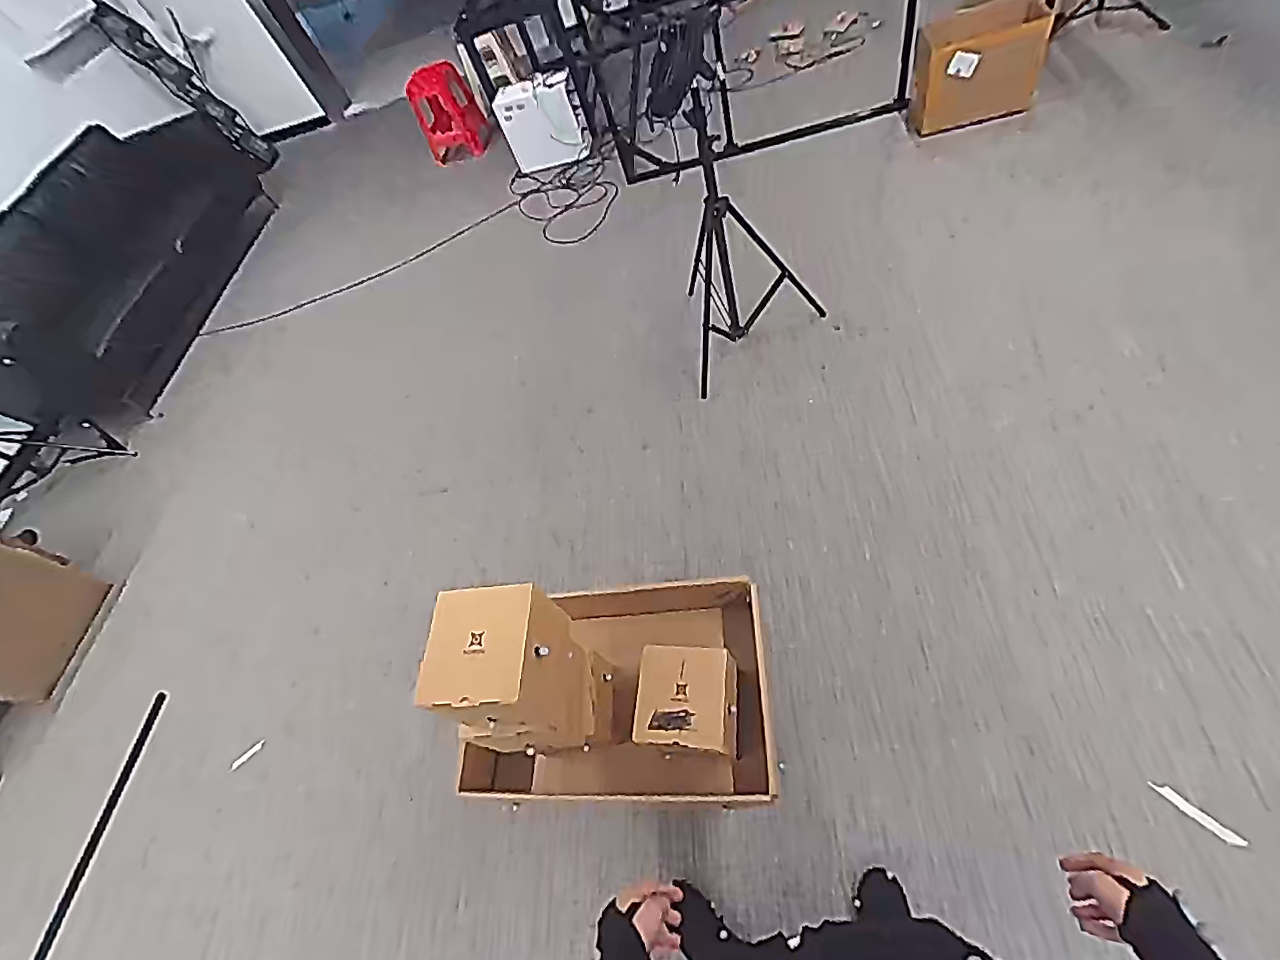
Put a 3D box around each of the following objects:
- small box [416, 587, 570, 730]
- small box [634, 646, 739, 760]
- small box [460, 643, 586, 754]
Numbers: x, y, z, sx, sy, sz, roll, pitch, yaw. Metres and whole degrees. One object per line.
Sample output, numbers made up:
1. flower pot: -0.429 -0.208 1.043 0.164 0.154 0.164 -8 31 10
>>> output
1. small box: -0.218 0.287 0.856 0.168 0.176 0.179 -8 56 12
2. small box: 0.099 0.436 1.051 0.168 0.176 0.179 -3 58 18
3. small box: -0.203 0.389 0.986 0.168 0.176 0.179 -11 56 10
